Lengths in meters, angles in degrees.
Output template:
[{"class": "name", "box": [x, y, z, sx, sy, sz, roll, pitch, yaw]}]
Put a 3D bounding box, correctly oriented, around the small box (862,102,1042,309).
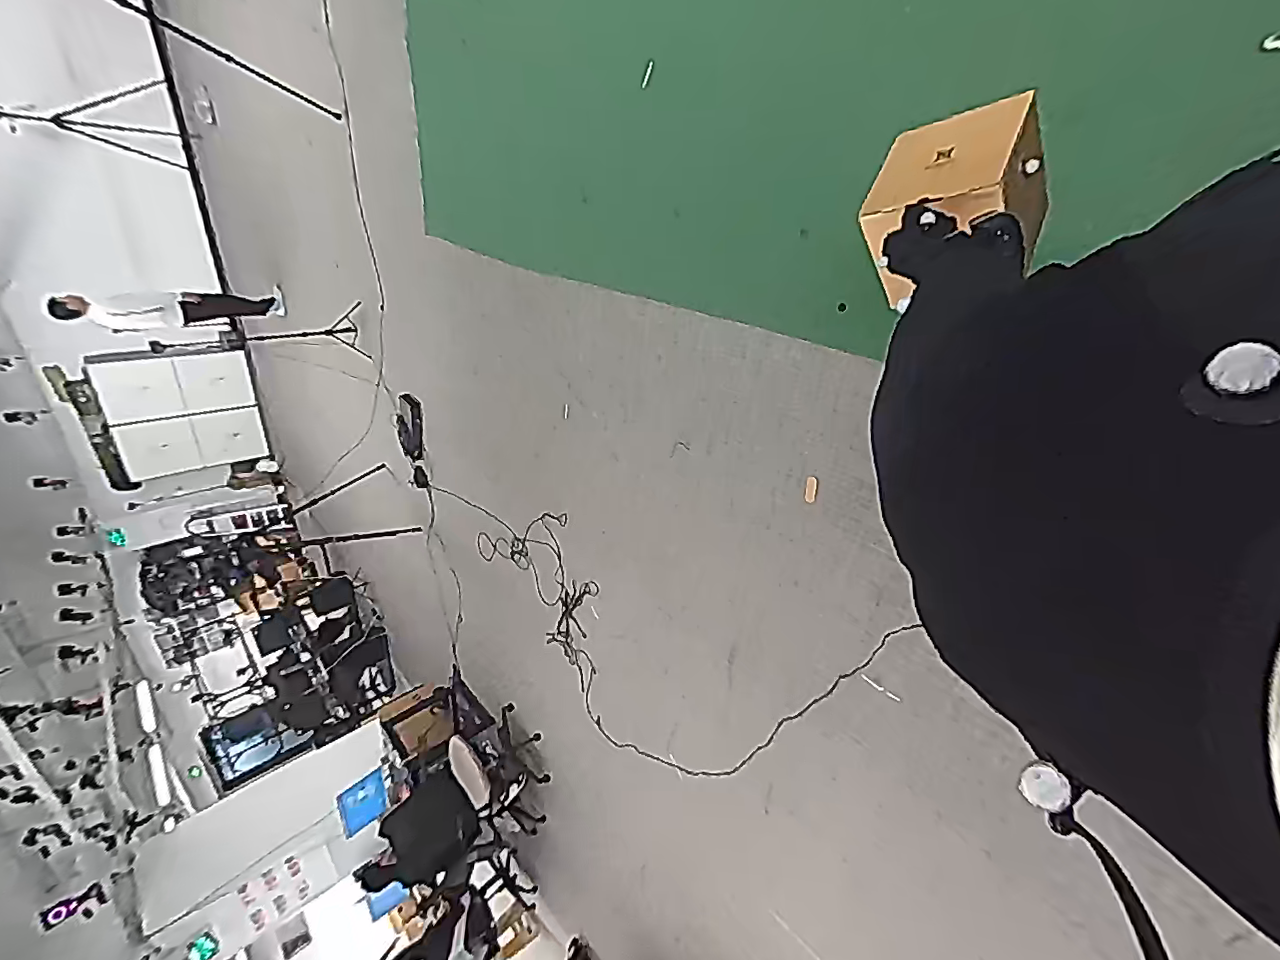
[{"class": "small box", "box": [0.441, -0.367, 0.754, 0.168, 0.179, 0.176, 9, 153, 46]}]
